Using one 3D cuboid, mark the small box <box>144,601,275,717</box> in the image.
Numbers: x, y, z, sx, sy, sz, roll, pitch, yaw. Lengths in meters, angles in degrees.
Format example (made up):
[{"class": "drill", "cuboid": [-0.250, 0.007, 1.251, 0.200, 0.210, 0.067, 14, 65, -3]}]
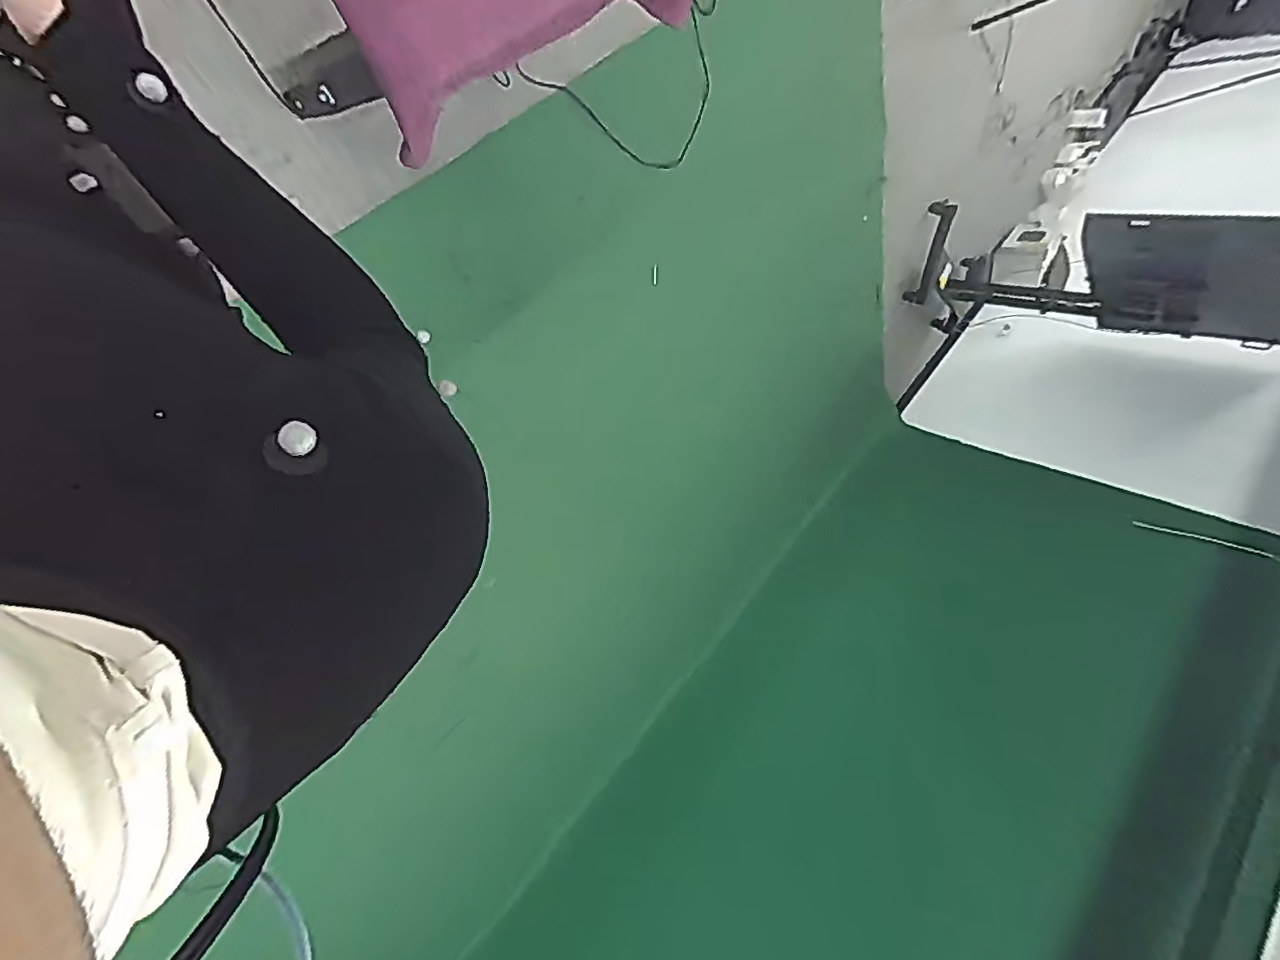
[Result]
[{"class": "small box", "cuboid": [-1.025, 0.420, 1.289, 0.168, 0.176, 0.179, -45, 137, -20]}]
